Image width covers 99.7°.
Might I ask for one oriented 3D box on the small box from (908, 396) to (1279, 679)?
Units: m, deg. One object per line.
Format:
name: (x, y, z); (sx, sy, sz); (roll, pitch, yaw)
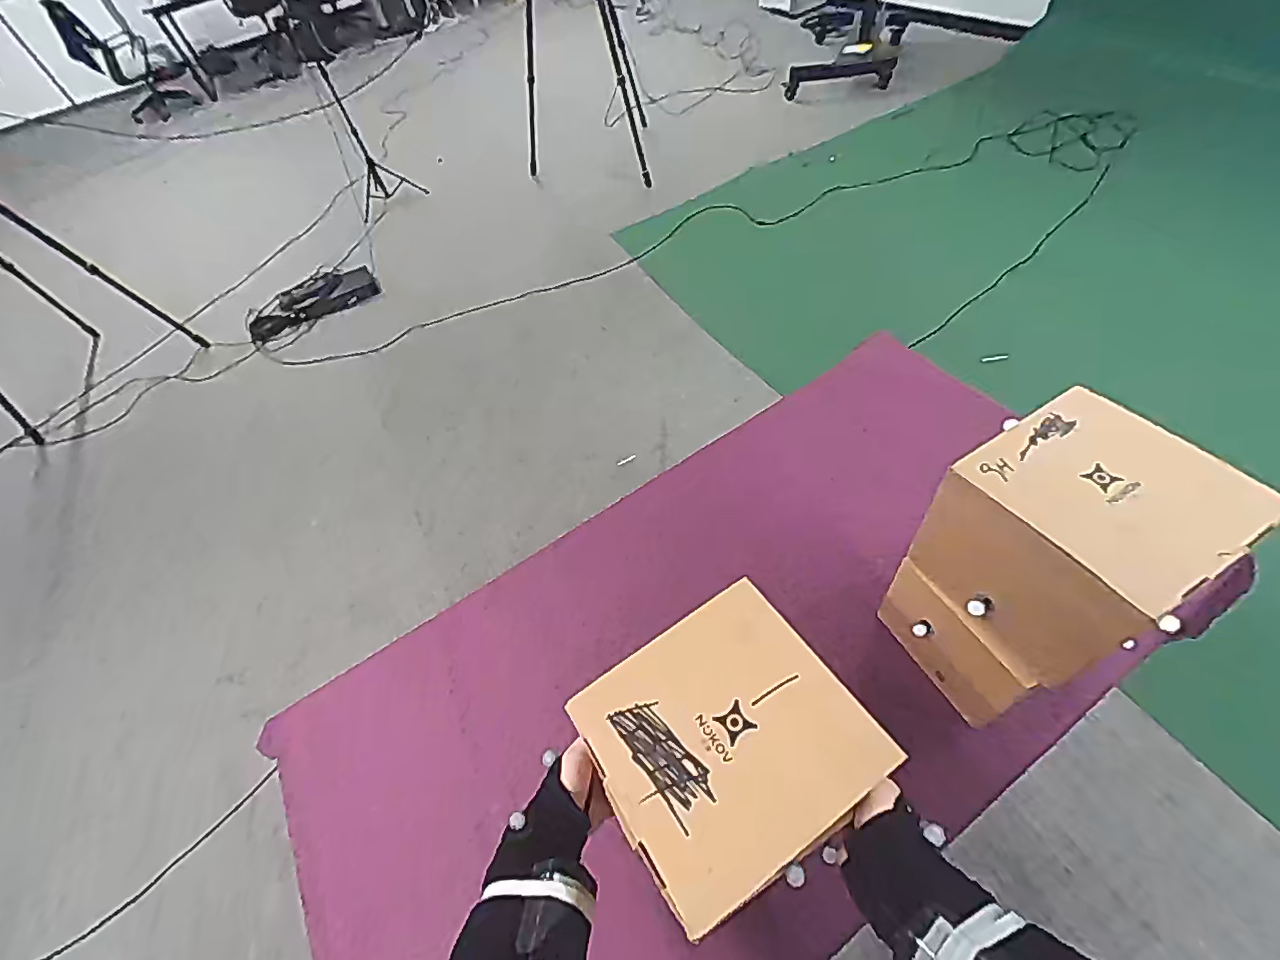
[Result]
small box: (0.391, 0.062, 0.504); (0.168, 0.176, 0.179); (-29, 54, -12)

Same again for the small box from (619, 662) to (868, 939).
small box: (0.100, 0.330, 0.569); (0.179, 0.176, 0.168); (-31, 54, -14)

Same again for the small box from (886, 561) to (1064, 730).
small box: (0.414, 0.162, 0.632); (0.179, 0.176, 0.168); (-26, 52, -9)
